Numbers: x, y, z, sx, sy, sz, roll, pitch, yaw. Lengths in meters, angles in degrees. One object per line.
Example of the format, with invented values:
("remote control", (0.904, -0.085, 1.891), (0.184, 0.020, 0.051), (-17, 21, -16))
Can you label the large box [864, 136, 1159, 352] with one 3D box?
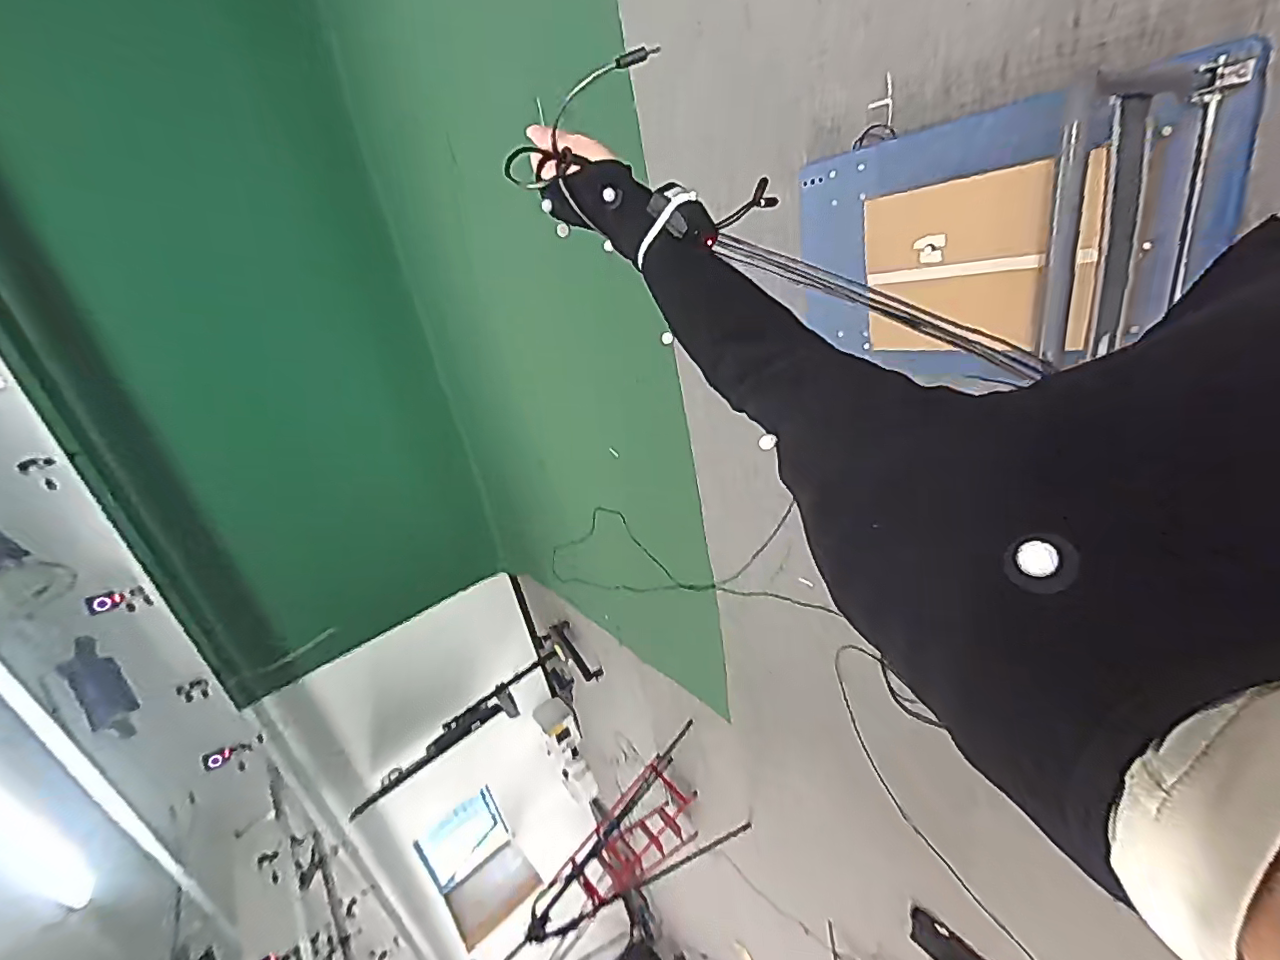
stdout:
("large box", (0.731, -0.454, 1.096), (0.408, 0.320, 0.320), (17, 126, 50))
